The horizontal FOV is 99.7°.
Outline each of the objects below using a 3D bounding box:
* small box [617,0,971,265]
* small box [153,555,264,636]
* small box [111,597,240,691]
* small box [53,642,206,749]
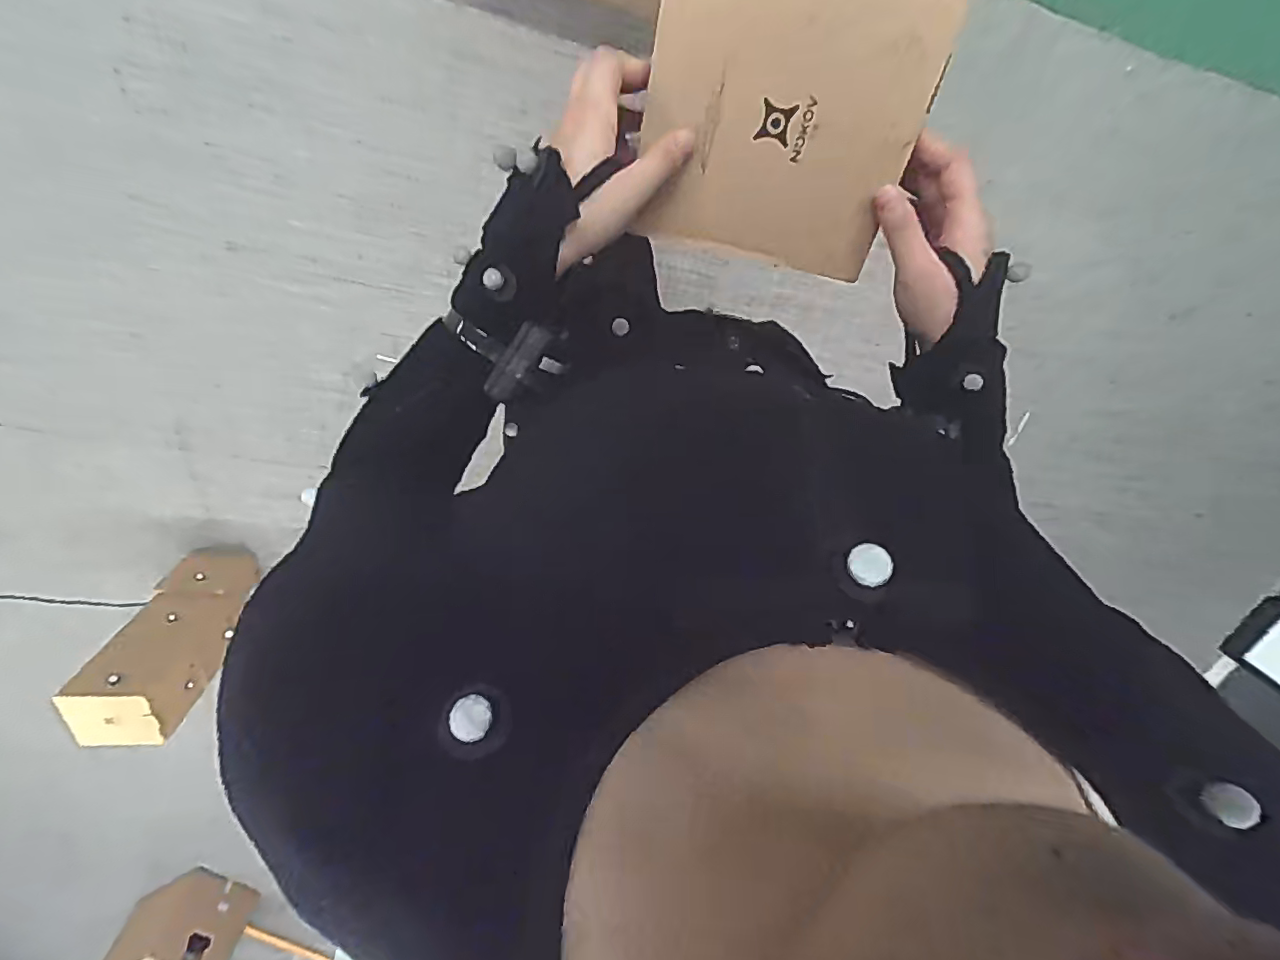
[{"bbox_3d":[0.088,-0.277,0.392,0.179,0.176,0.168,11,125,-4],"label":"small box"},{"bbox_3d":[-1.201,0.324,1.528,0.179,0.176,0.168,1,118,-6],"label":"small box"},{"bbox_3d":[-1.184,0.419,1.394,0.179,0.176,0.168,4,119,-9],"label":"small box"},{"bbox_3d":[-1.164,0.493,1.250,0.179,0.176,0.168,3,119,-9],"label":"small box"}]
